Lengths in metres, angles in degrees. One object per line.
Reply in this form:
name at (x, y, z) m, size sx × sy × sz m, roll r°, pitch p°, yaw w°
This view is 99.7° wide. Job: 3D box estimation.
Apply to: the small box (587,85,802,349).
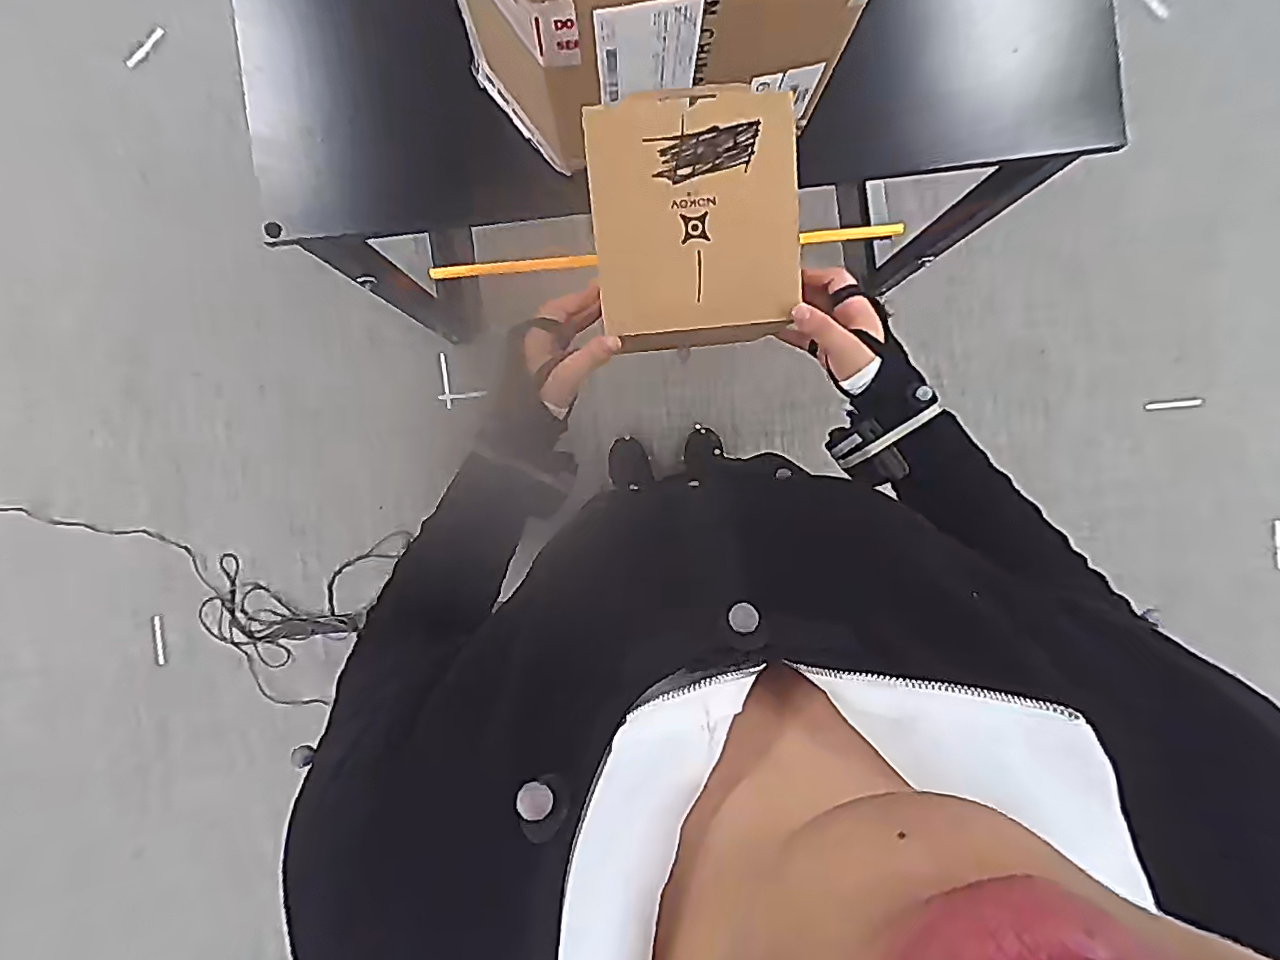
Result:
small box at (0.042, -0.225, 0.506) m, size 0.168 × 0.176 × 0.179 m, roll -5°, pitch 100°, yaw 0°
